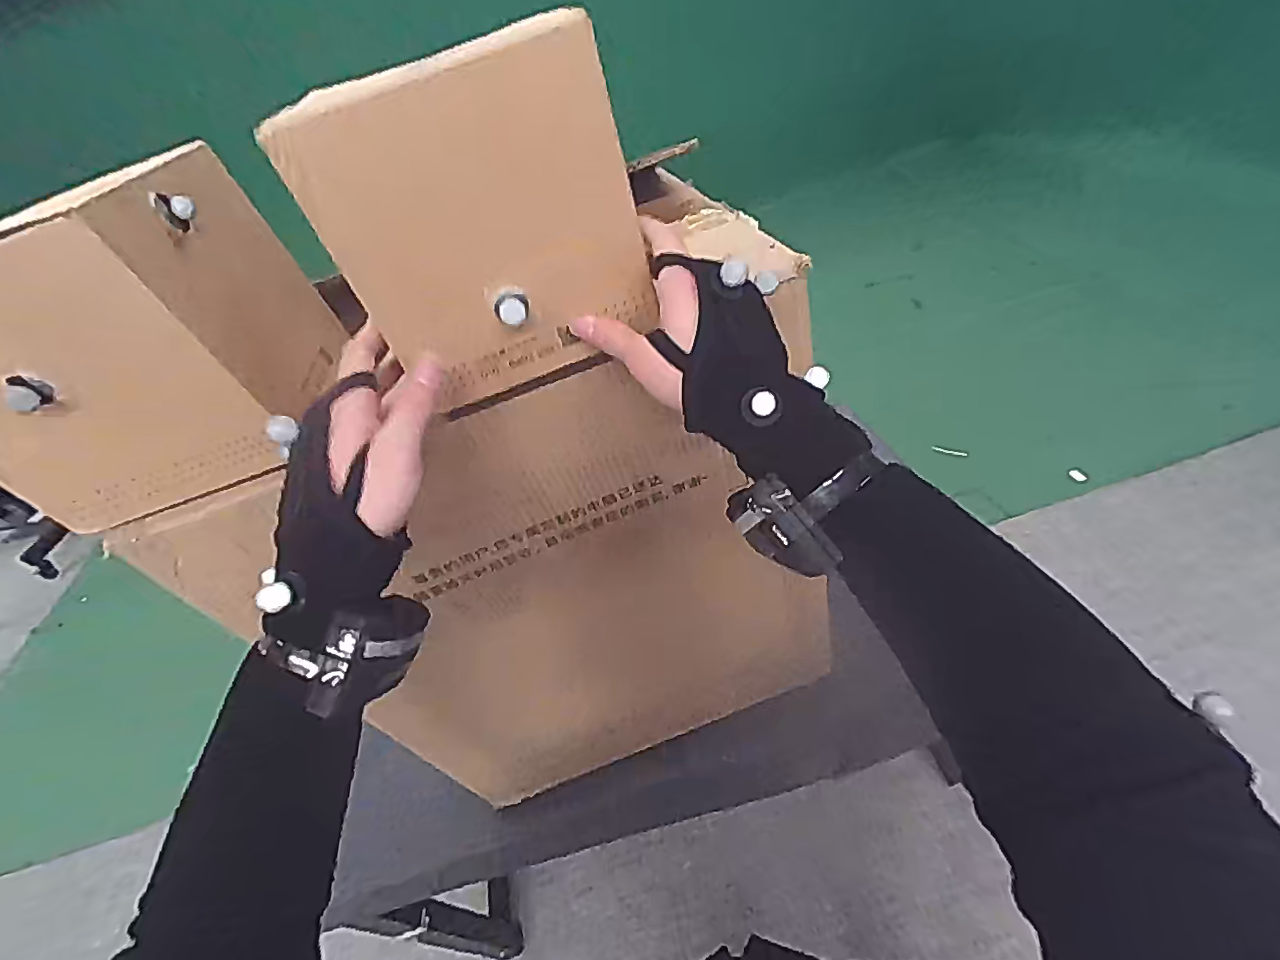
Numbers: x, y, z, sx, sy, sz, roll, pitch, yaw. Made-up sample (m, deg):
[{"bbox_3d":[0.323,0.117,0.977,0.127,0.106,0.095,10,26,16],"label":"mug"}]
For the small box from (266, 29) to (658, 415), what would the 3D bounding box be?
[{"bbox_3d":[-0.101,-0.174,0.368,0.168,0.176,0.179,-22,44,-2],"label":"small box"}]

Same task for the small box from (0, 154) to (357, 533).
[{"bbox_3d":[-0.339,-0.090,0.375,0.179,0.176,0.168,-20,43,2],"label":"small box"}]
